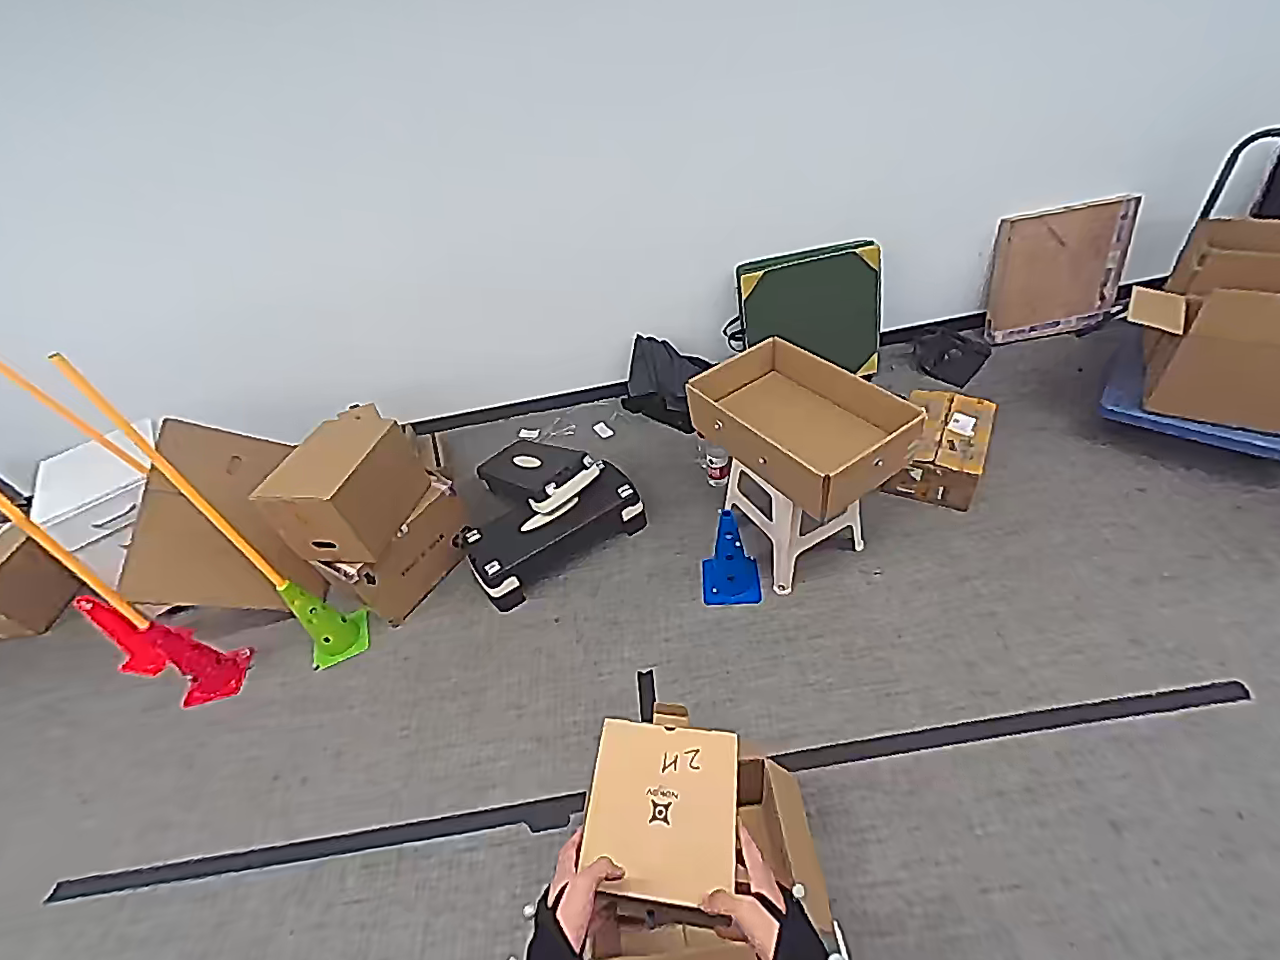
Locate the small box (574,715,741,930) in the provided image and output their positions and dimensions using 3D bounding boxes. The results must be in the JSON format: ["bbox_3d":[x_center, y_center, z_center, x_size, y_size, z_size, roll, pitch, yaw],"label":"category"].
[{"bbox_3d":[0.031,0.413,0.651,0.168,0.176,0.179,4,45,9],"label":"small box"}]
